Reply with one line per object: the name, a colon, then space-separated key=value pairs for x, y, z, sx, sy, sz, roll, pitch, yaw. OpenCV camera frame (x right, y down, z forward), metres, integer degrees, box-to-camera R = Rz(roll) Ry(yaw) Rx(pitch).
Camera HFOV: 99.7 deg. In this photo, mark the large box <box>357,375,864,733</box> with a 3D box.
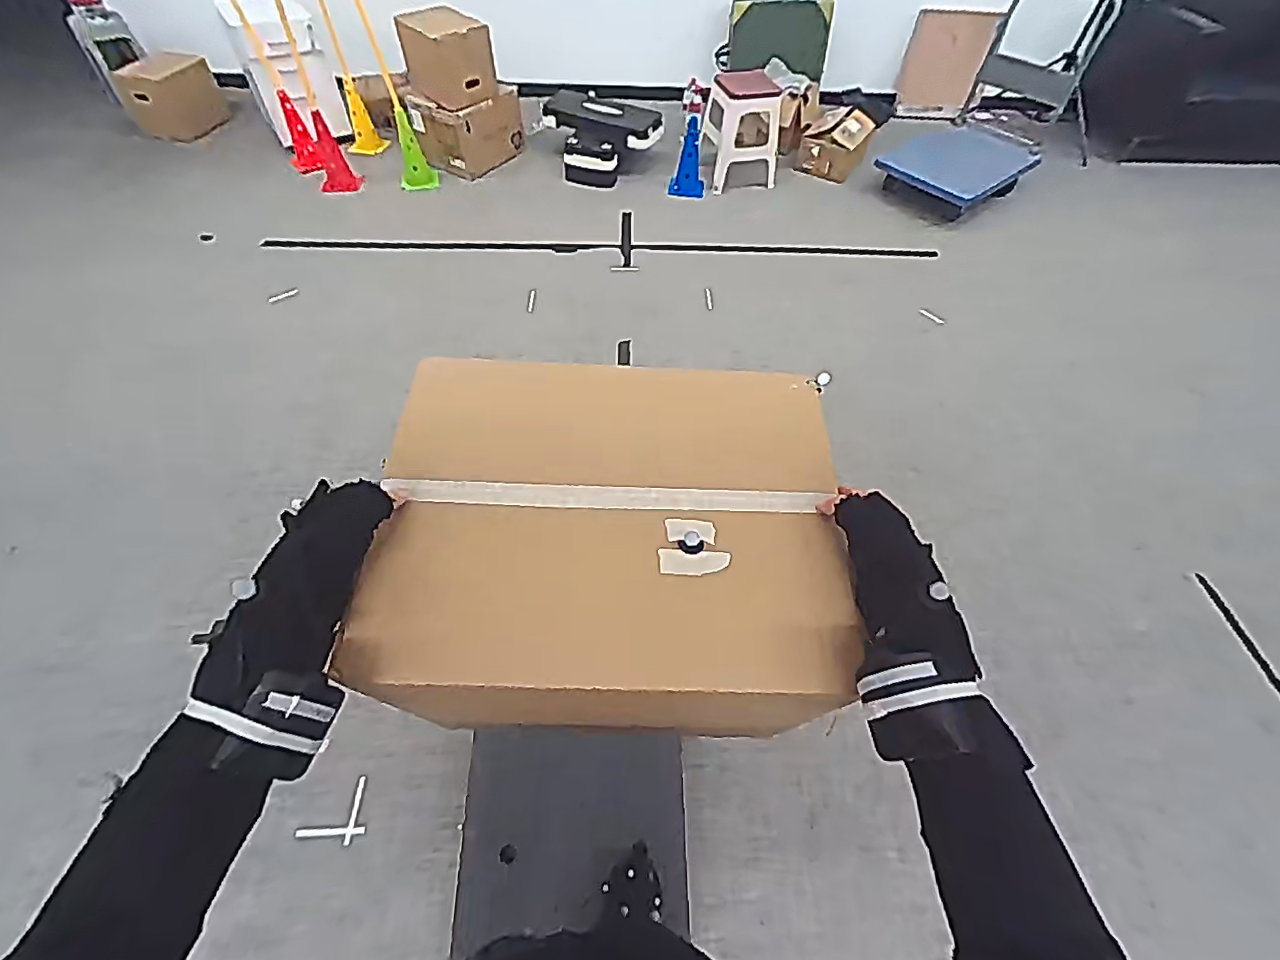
large box: x=-0.028 y=0.102 z=0.620 sx=0.408 sy=0.320 sz=0.320 roll=2 pitch=59 yaw=-2
